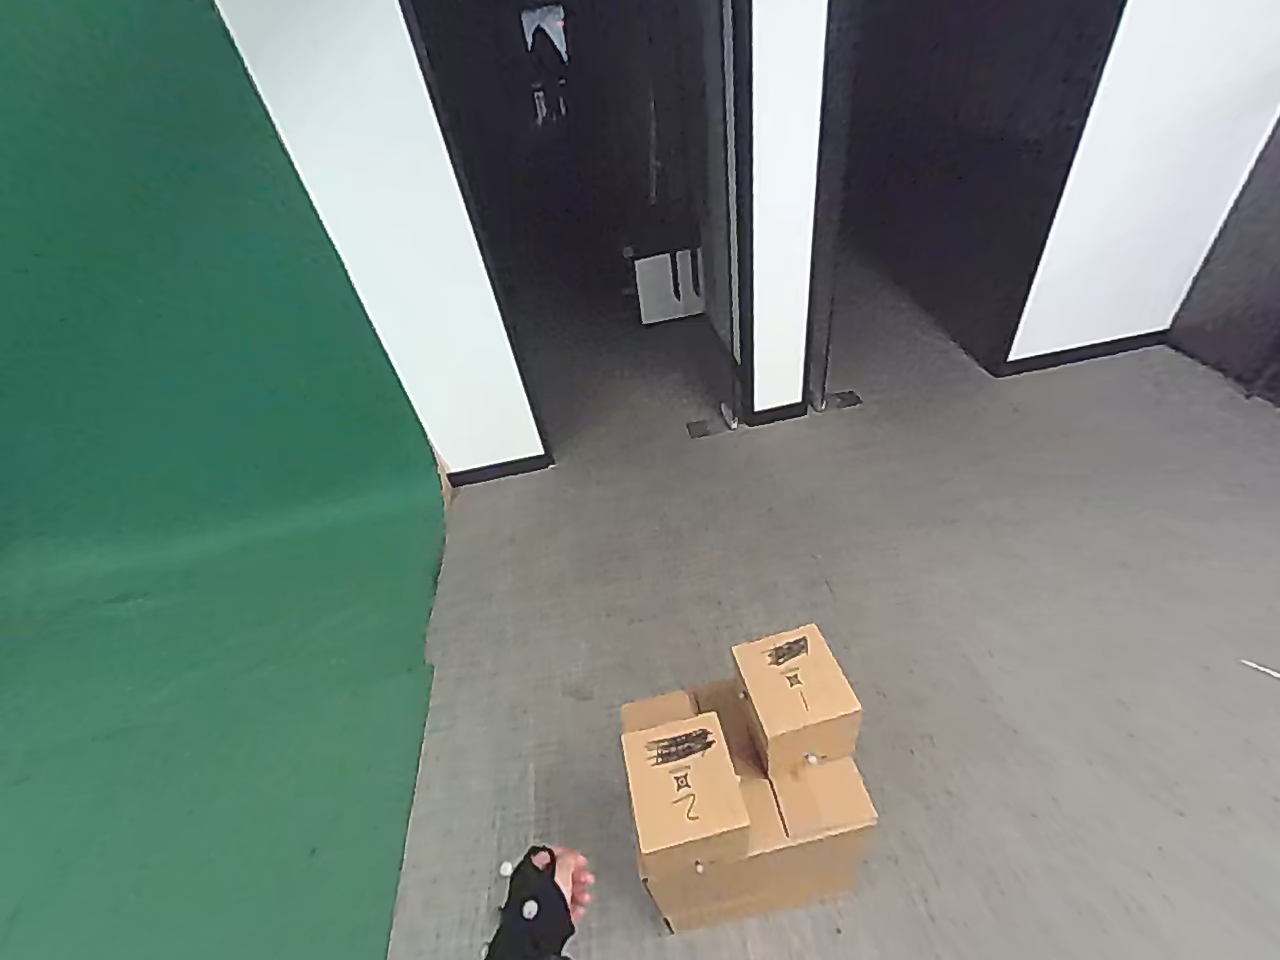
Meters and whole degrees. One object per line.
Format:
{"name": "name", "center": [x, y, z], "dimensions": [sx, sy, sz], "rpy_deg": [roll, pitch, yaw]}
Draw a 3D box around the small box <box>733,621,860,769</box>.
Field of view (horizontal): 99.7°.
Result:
{"name": "small box", "center": [0.278, 0.396, 0.995], "dimensions": [0.168, 0.176, 0.179], "rpy_deg": [-16, 42, -2]}
